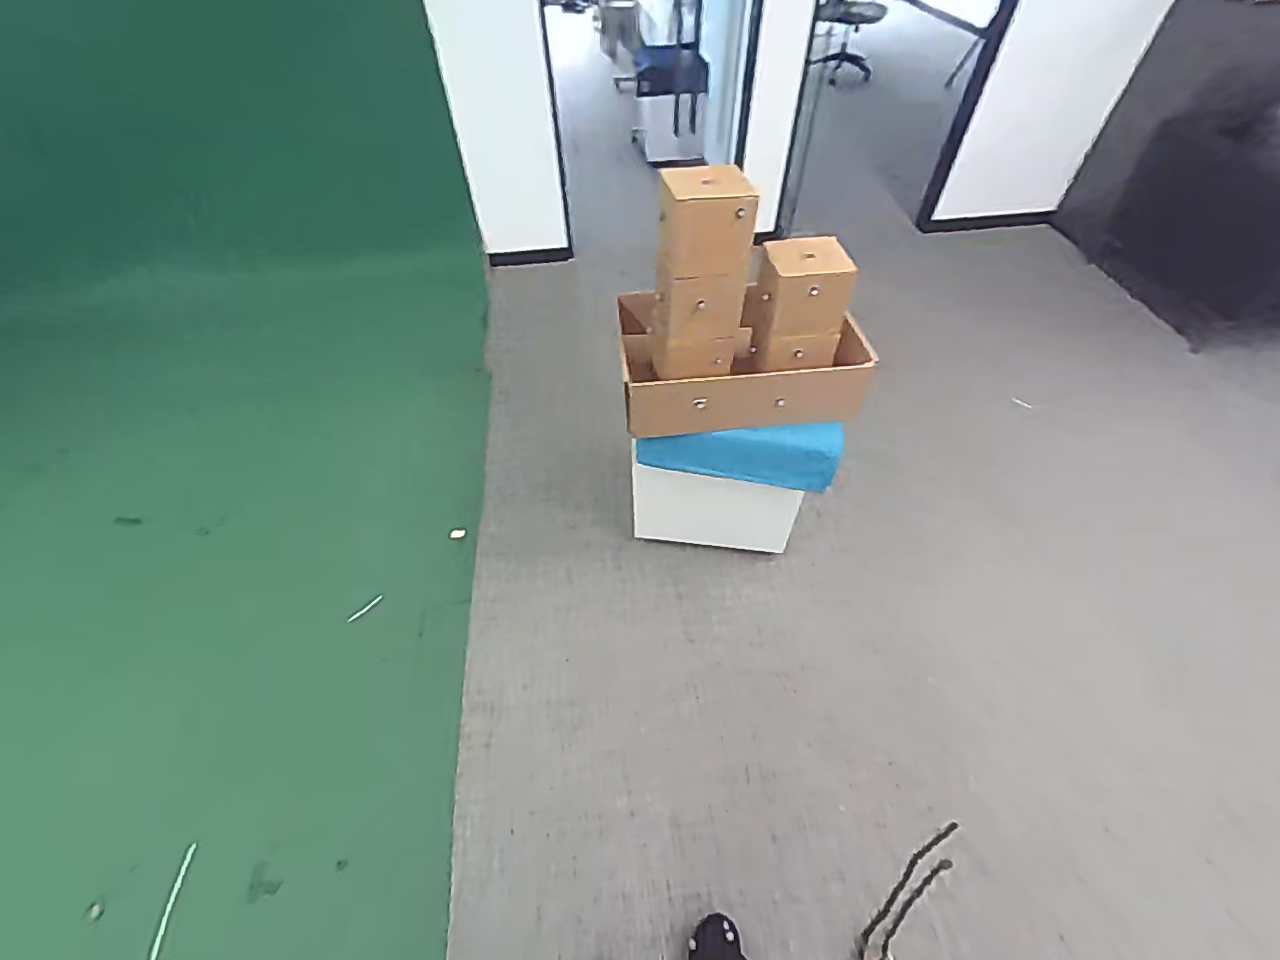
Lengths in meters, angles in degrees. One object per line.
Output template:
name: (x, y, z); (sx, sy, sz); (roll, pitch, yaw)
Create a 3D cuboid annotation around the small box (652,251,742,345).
small box: (0.130, -0.442, 1.301); (0.179, 0.176, 0.168); (-8, 50, -8)

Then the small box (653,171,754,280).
small box: (0.129, -0.551, 1.179); (0.179, 0.176, 0.168); (-8, 49, -9)

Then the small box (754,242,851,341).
small box: (0.378, -0.451, 1.303); (0.179, 0.176, 0.168); (-5, 49, -2)
